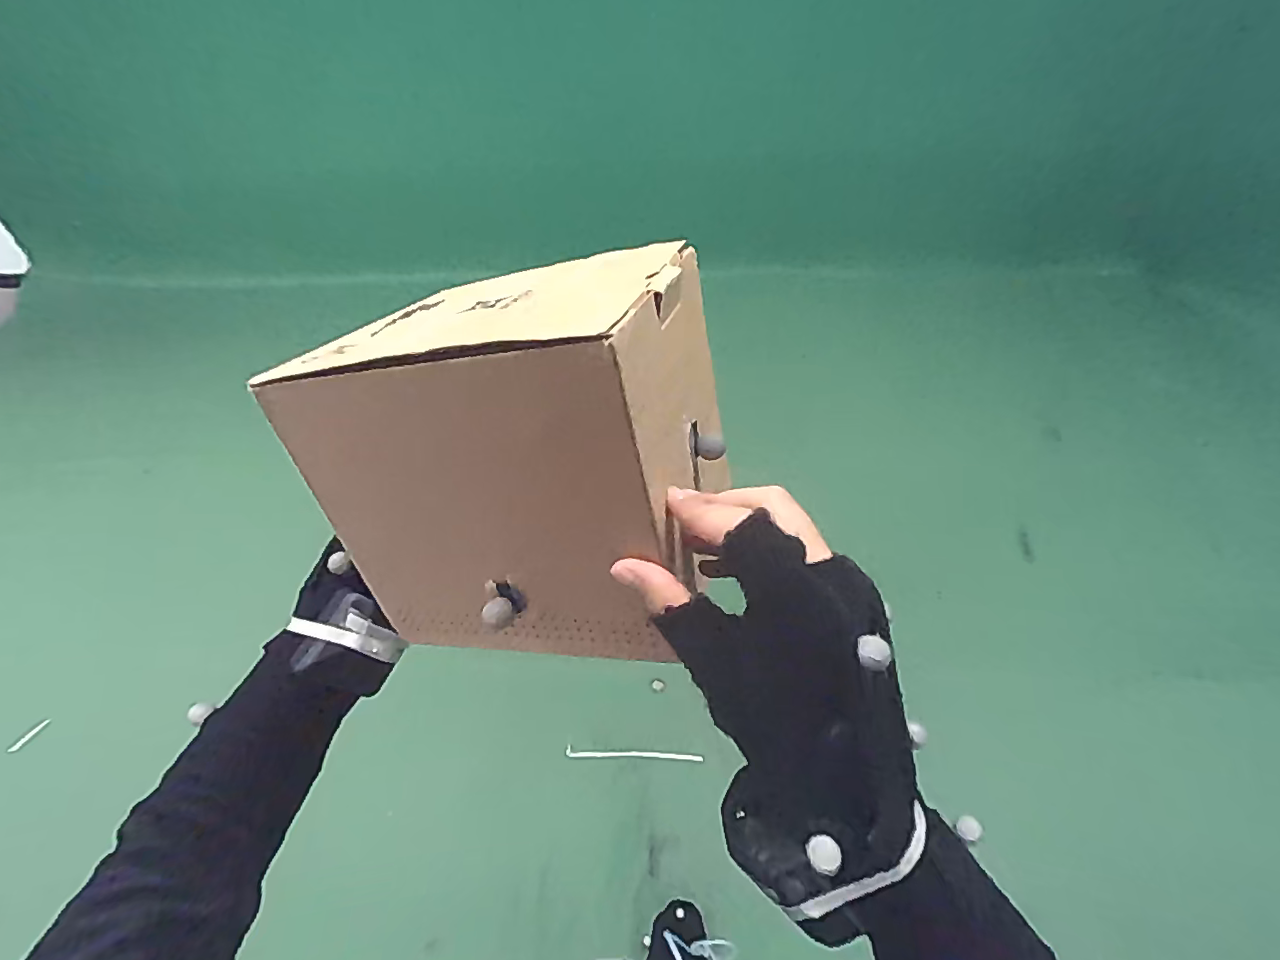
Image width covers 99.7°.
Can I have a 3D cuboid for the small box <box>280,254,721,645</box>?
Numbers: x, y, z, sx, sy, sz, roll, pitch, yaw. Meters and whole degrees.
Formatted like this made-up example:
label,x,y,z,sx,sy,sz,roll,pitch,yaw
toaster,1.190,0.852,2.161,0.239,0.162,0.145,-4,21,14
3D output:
label,x,y,z,sx,sy,sz,roll,pitch,yaw
small box,-0.051,-0.020,0.328,0.179,0.176,0.168,-2,32,19
